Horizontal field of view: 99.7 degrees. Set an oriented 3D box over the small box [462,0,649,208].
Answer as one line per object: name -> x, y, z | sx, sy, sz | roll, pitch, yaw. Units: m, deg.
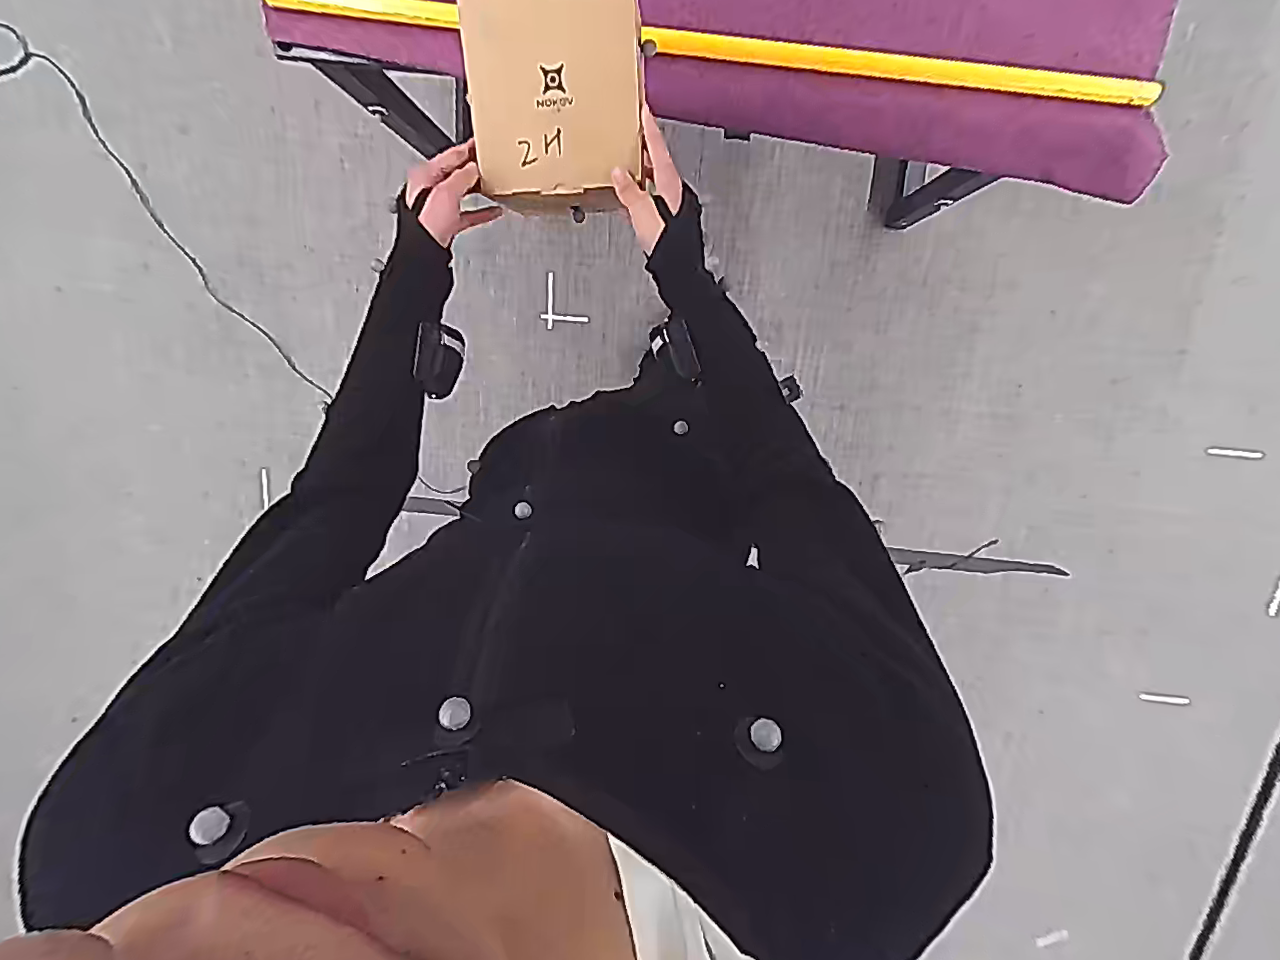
small box -> -0.077, -0.406, 0.586 | 0.168, 0.176, 0.179 | -1, 110, 4
